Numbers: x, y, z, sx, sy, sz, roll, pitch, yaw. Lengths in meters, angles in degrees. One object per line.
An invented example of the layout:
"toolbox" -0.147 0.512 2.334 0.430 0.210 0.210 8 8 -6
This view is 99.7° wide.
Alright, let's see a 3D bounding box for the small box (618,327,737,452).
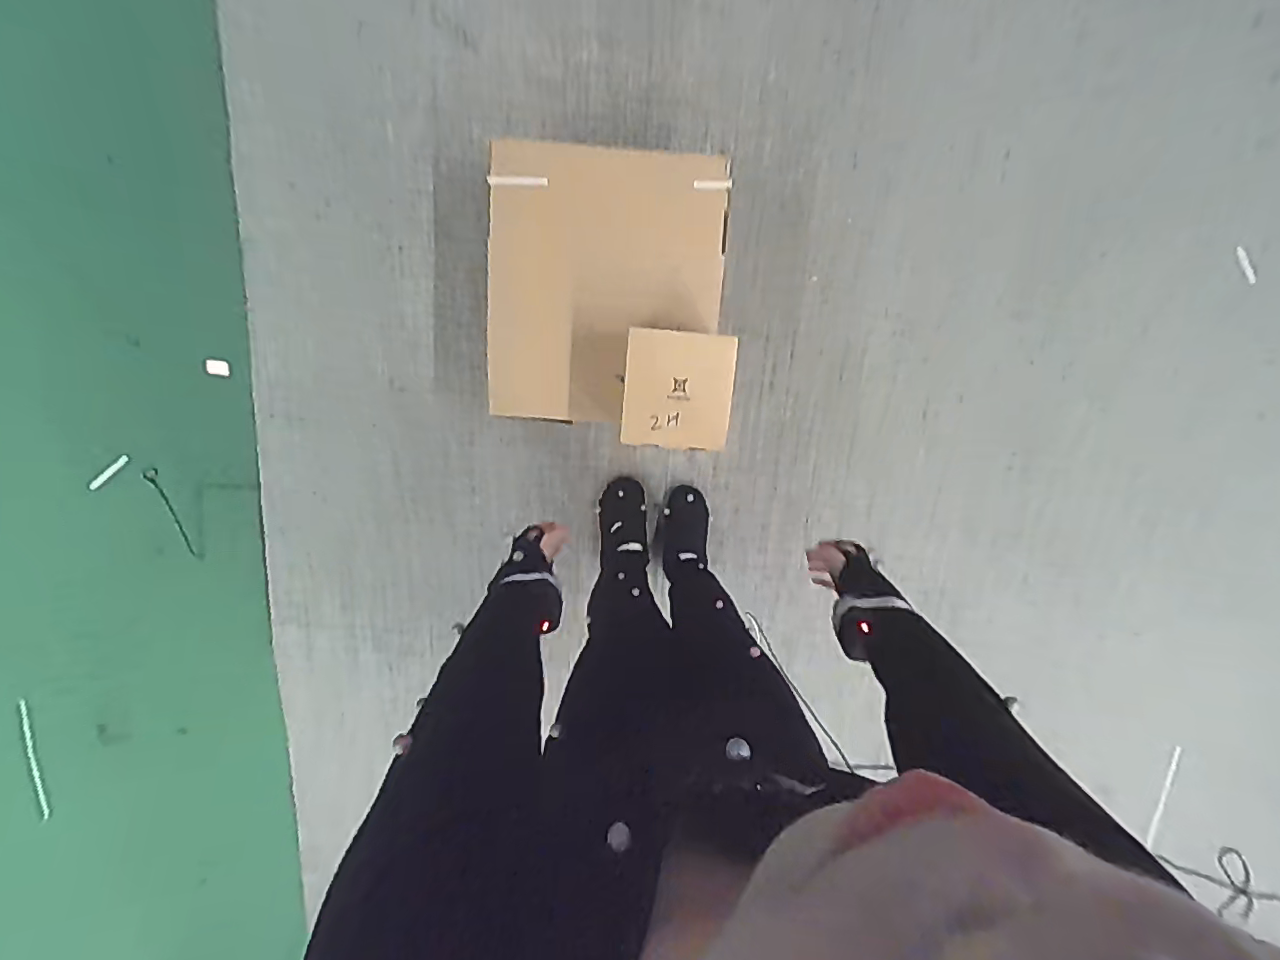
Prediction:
"small box" 0.053 -0.150 0.894 0.168 0.176 0.179 4 101 -4
